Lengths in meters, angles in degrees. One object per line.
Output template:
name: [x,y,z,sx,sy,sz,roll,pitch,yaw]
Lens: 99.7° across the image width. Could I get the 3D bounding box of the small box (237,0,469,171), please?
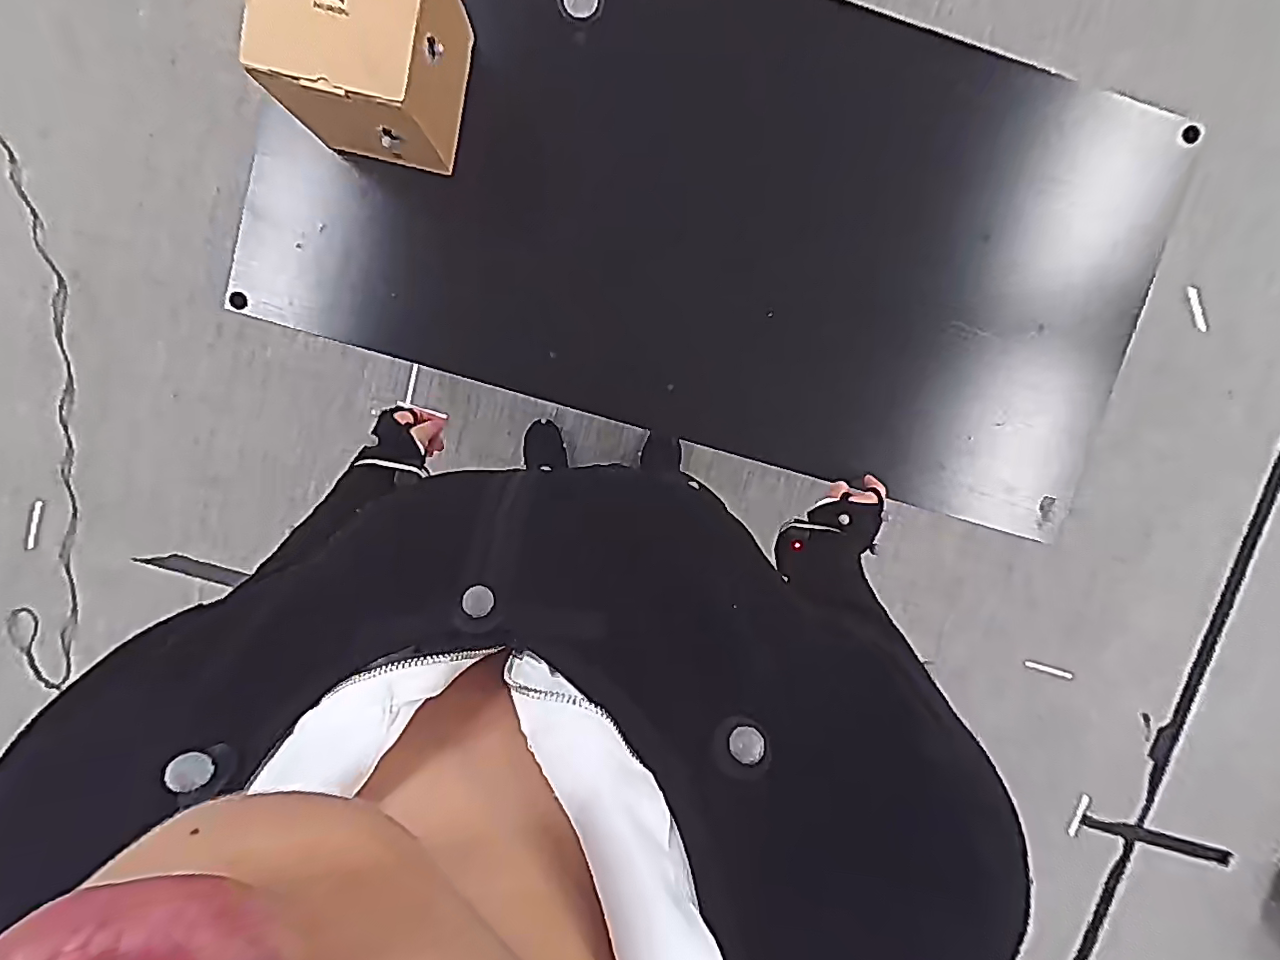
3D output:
small box: [-0.302,-0.483,0.604,0.168,0.176,0.179,11,95,-5]
